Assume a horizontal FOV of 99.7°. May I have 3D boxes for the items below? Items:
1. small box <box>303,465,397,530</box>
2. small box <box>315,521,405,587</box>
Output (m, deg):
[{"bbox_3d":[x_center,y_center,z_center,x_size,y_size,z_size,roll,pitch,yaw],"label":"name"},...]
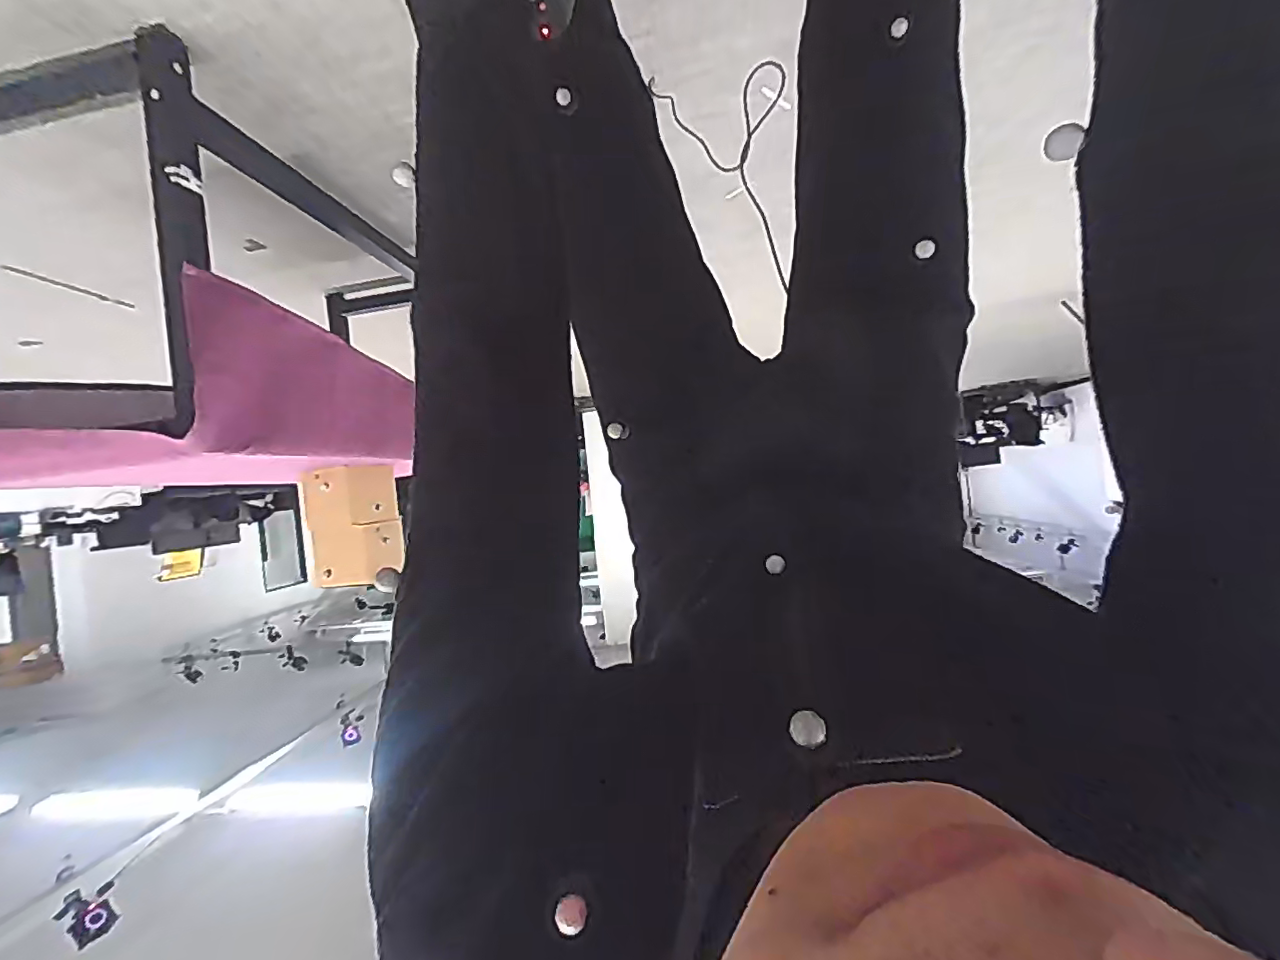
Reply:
[{"bbox_3d":[-0.833,0.046,1.559,0.168,0.176,0.179,-7,179,18],"label":"small box"},{"bbox_3d":[-0.818,0.210,1.581,0.179,0.176,0.168,-6,-179,12],"label":"small box"}]
